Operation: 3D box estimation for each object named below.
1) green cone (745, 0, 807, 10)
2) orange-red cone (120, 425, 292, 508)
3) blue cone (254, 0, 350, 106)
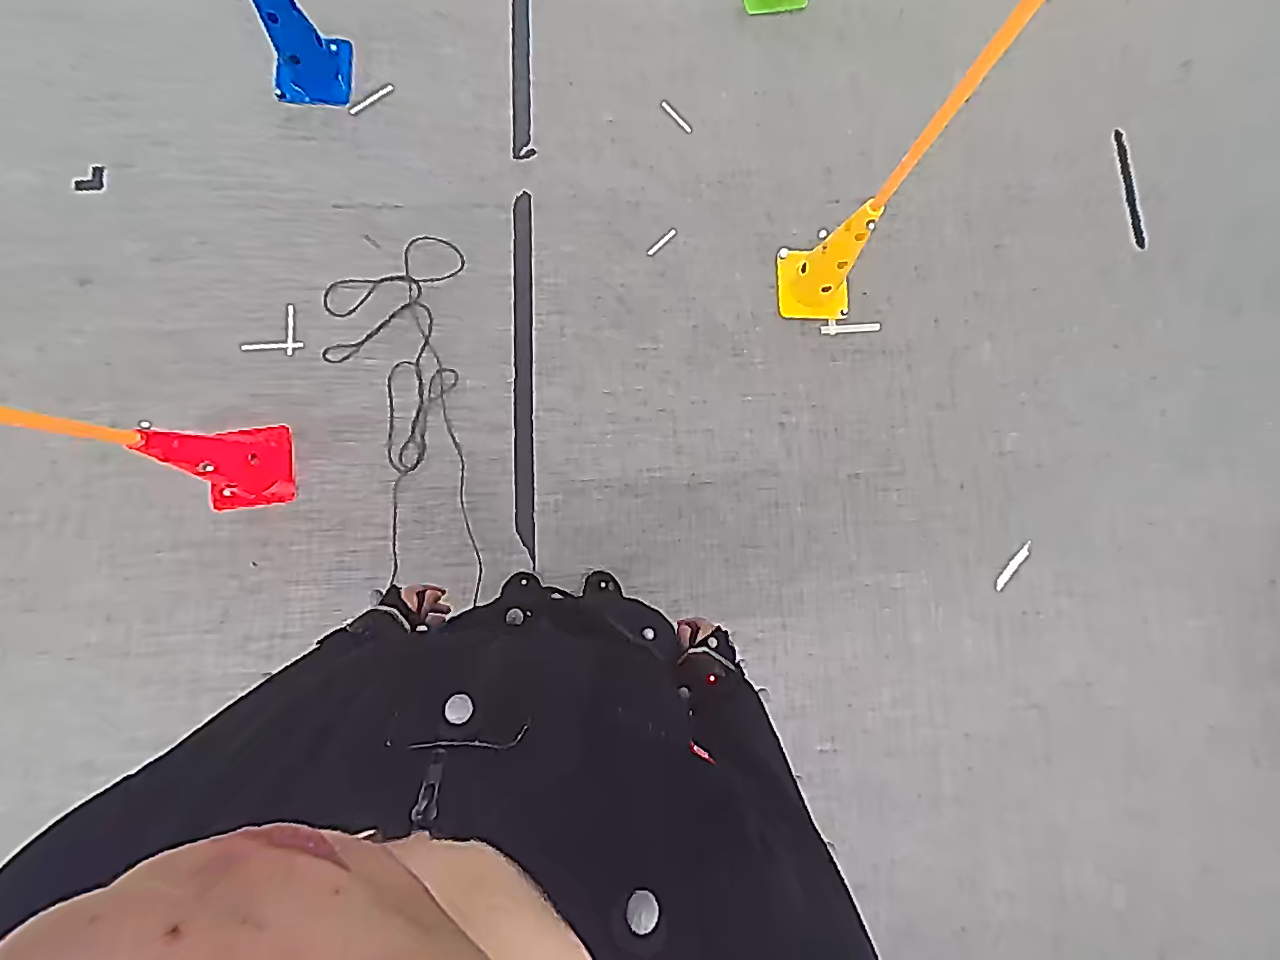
[{"bbox_3d":[0.410,-1.542,1.470,0.200,0.368,0.202,-13,85,-5],"label":"green cone"},{"bbox_3d":[-0.957,-0.056,1.174,0.199,0.360,0.198,-7,83,-6],"label":"orange-red cone"},{"bbox_3d":[-0.891,-1.152,1.338,0.193,0.380,0.192,1,83,-4],"label":"blue cone"}]
